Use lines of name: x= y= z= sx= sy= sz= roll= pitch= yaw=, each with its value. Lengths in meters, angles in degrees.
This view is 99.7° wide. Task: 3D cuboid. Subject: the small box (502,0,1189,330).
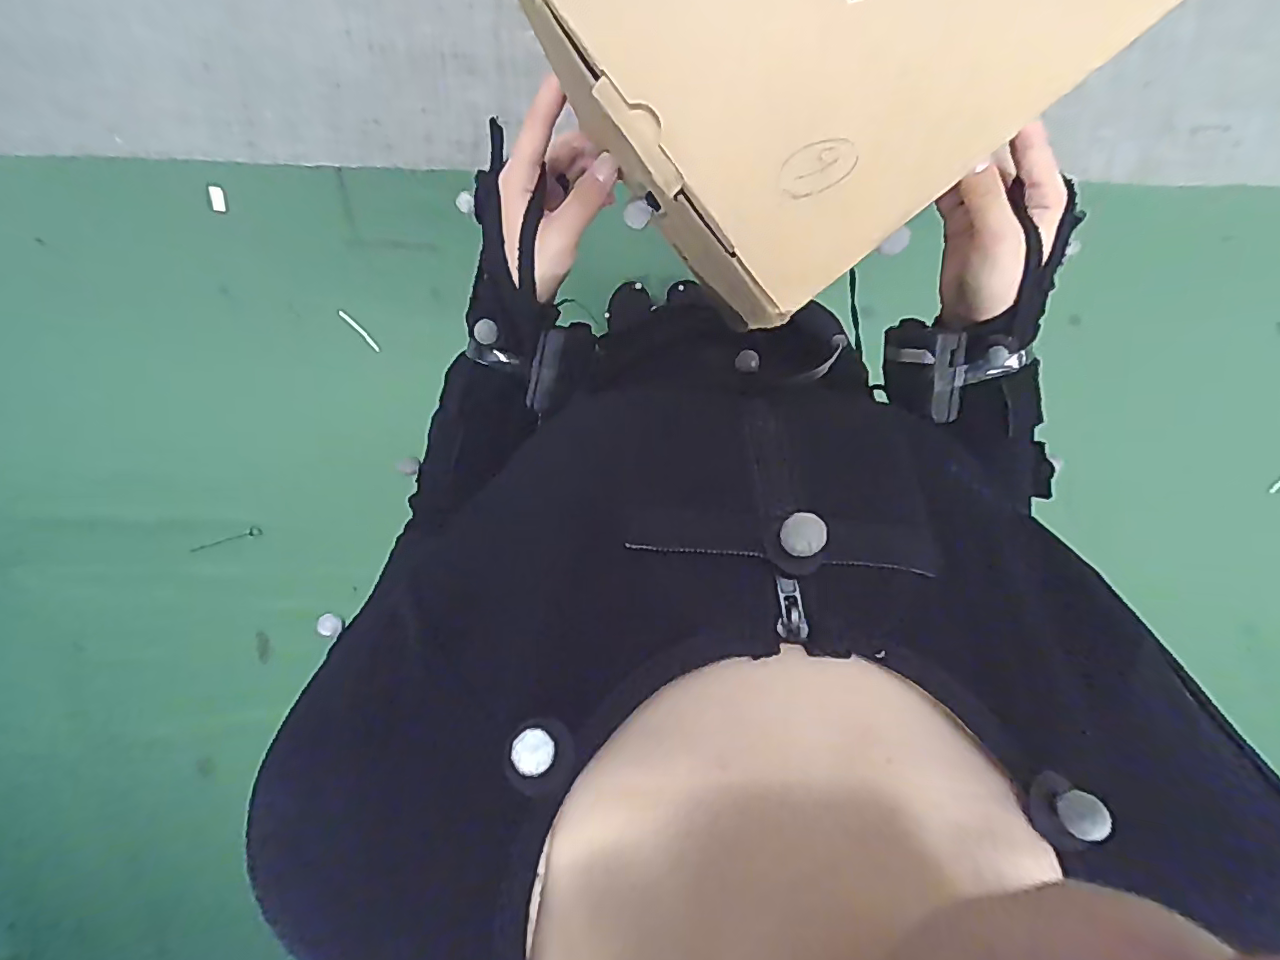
small box: x=0.071 y=-0.185 z=0.249 sx=0.179 sy=0.176 sz=0.168 roll=-38 pitch=97 yaw=13
